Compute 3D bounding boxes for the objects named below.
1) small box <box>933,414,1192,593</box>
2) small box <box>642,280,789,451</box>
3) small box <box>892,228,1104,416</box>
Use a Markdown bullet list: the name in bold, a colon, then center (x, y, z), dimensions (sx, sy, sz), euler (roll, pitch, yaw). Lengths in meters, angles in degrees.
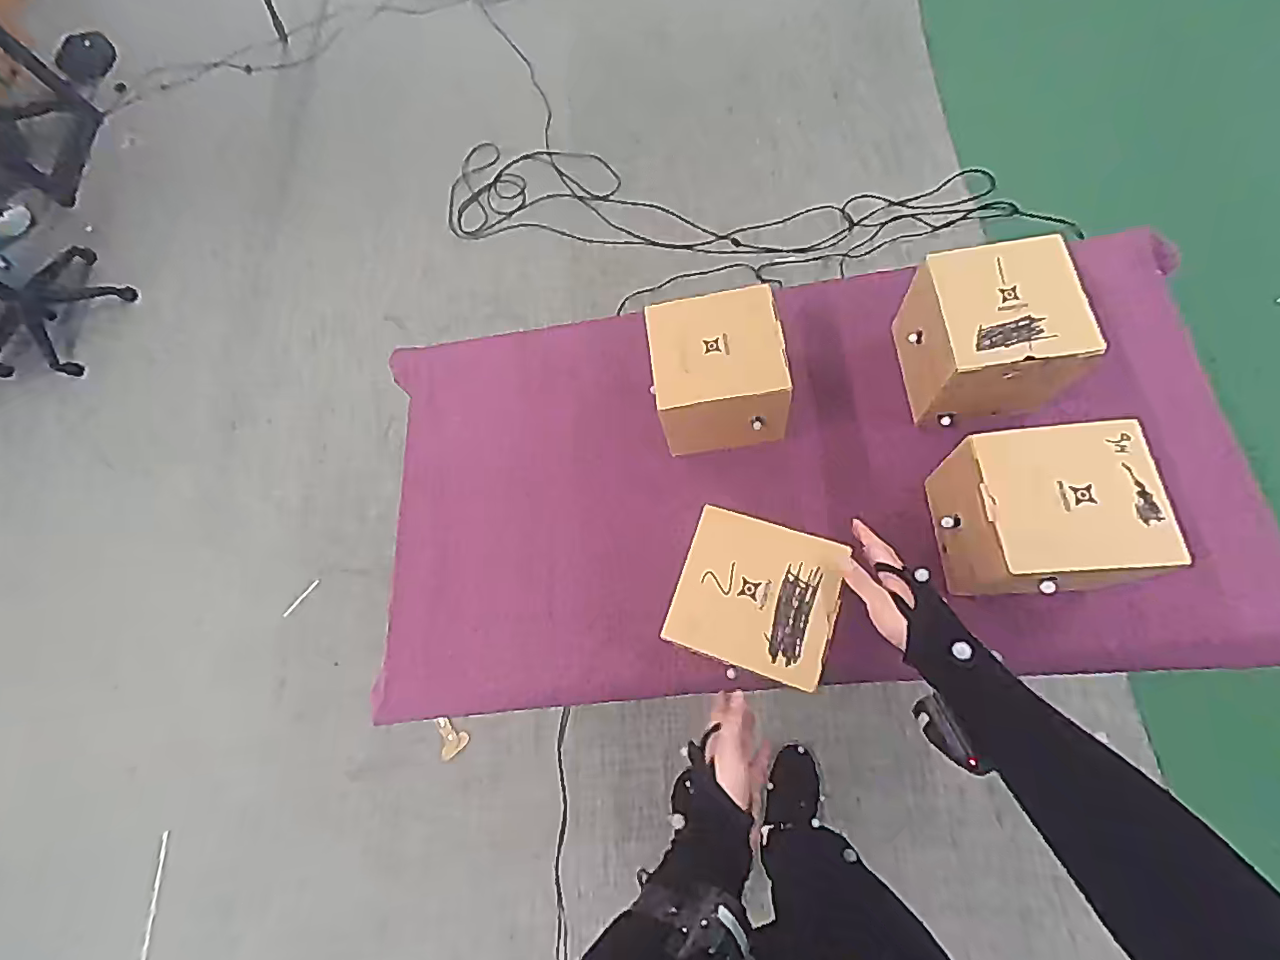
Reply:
- **small box**: center (0.472, 0.039, 0.645), dimensions (0.179, 0.176, 0.168), euler (-5, 70, 10)
- **small box**: center (0.107, -0.155, 0.780), dimensions (0.179, 0.176, 0.168), euler (-8, 70, 8)
- **small box**: center (0.460, -0.197, 0.728), dimensions (0.168, 0.176, 0.179), euler (-6, 69, 8)
